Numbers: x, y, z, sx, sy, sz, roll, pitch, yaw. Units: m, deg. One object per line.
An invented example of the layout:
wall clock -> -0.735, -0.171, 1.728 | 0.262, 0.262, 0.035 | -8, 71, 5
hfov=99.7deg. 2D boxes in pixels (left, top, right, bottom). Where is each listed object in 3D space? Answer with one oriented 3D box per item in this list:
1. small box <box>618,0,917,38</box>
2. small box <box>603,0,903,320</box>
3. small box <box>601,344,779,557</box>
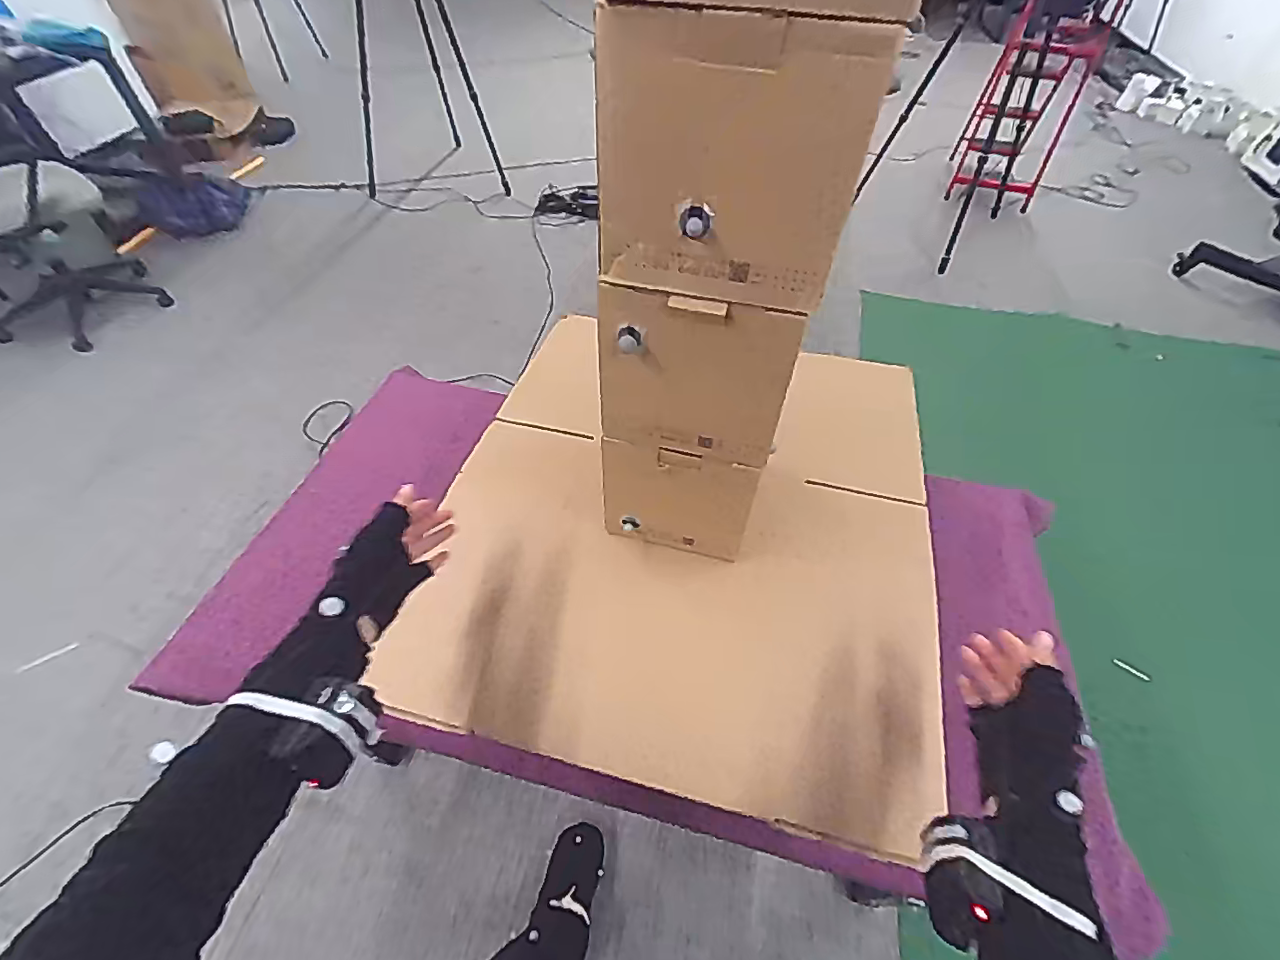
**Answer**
small box -> 0.077, -0.353, 0.275 | 0.168, 0.176, 0.179 | 10, 50, 7
small box -> 0.073, -0.247, 0.401 | 0.168, 0.176, 0.179 | 11, 50, 8
small box -> 0.061, -0.032, 0.647 | 0.168, 0.176, 0.179 | 12, 50, 9
